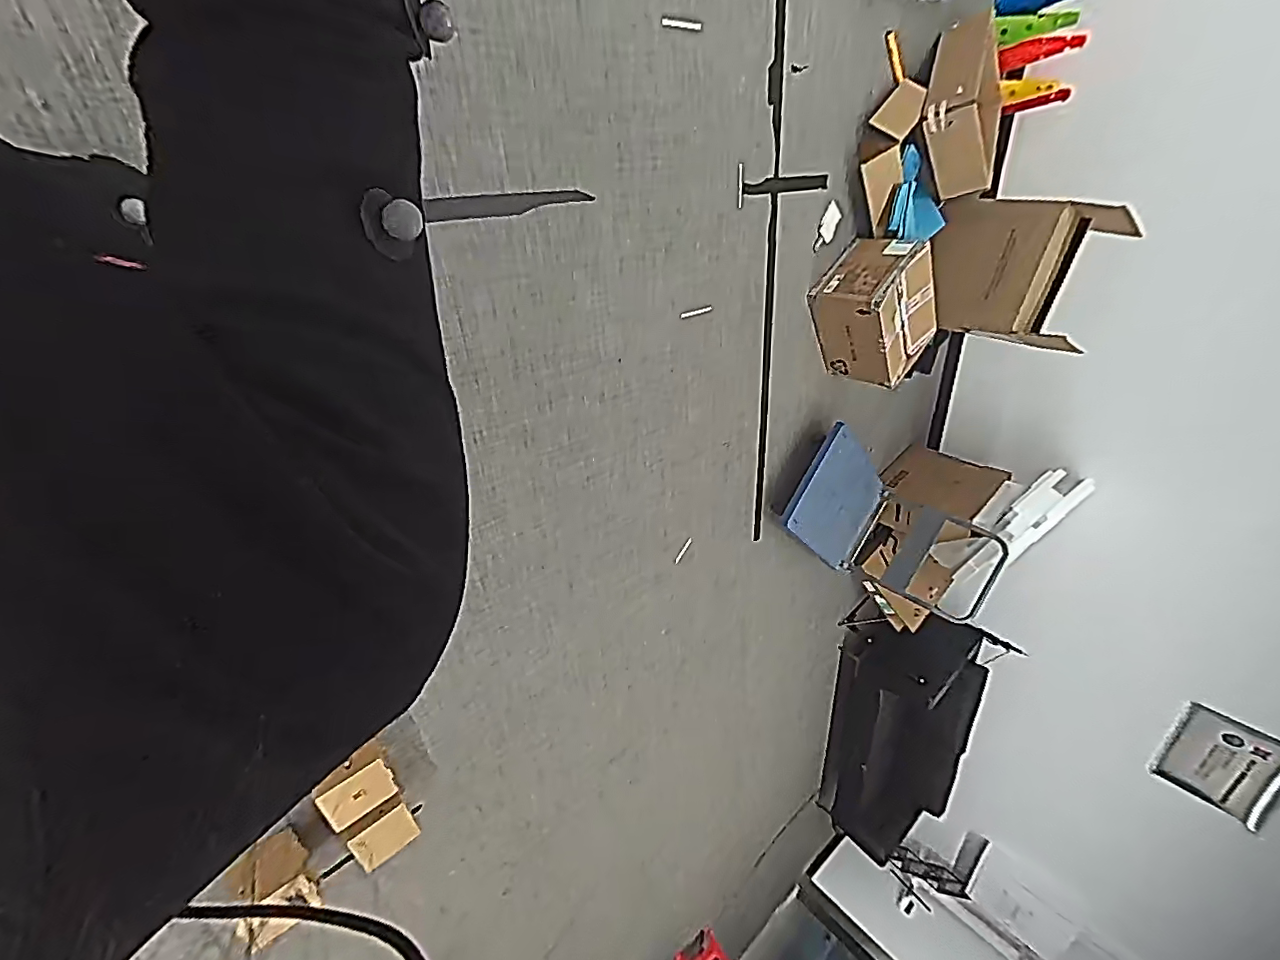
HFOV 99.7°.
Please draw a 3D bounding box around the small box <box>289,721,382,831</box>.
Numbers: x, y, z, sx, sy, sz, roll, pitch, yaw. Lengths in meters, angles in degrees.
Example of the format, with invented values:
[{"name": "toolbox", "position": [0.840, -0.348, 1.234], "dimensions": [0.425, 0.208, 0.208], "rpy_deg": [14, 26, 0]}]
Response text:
[{"name": "small box", "position": [-0.871, 0.835, 1.540], "dimensions": [0.179, 0.176, 0.168], "rpy_deg": [-27, 127, -34]}]
